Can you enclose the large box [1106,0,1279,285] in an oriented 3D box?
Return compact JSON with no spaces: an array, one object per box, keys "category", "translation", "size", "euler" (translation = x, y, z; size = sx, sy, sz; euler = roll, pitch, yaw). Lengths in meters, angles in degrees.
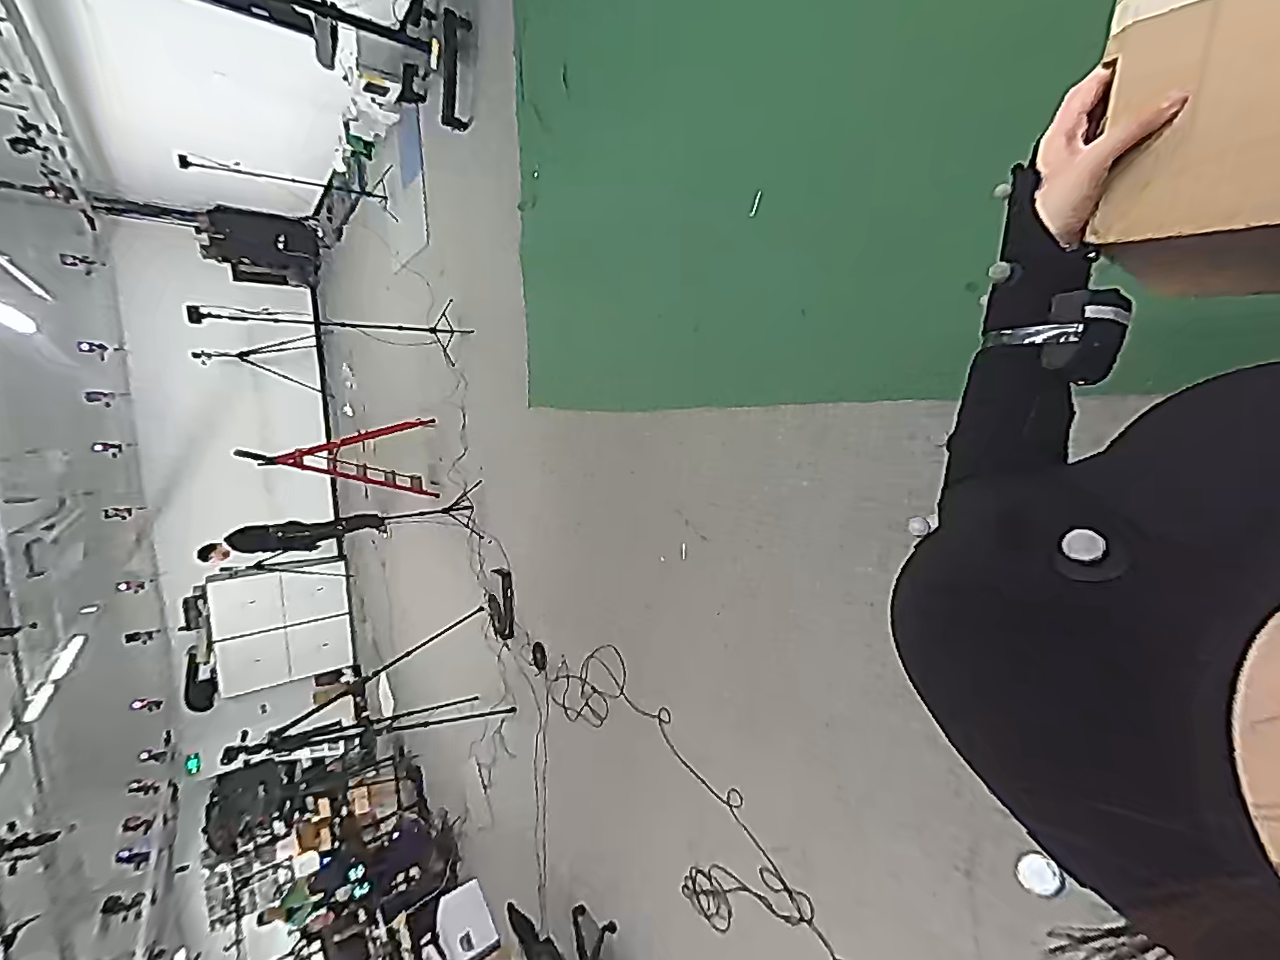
[{"category":"large box","translation":[0.593,-0.320,0.328],"size":[0.408,0.320,0.320],"euler":[15,107,48]}]
